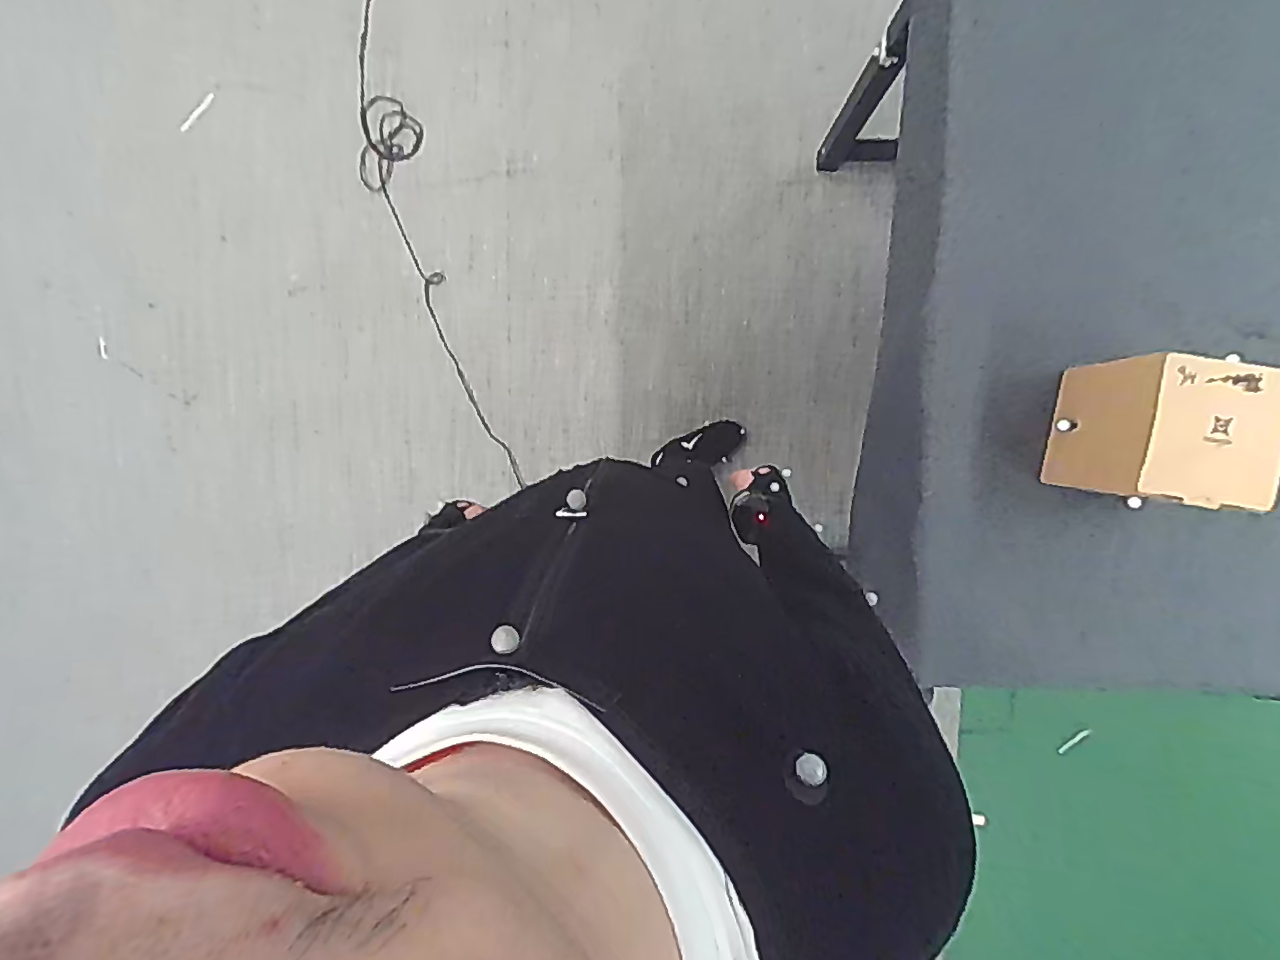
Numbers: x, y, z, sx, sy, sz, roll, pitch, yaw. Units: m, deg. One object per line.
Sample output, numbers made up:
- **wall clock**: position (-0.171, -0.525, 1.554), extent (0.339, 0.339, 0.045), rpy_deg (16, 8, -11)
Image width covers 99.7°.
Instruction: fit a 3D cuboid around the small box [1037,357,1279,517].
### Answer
- **small box**: position (0.697, -0.059, 0.747), extent (0.168, 0.176, 0.179), rpy_deg (9, 95, 0)
